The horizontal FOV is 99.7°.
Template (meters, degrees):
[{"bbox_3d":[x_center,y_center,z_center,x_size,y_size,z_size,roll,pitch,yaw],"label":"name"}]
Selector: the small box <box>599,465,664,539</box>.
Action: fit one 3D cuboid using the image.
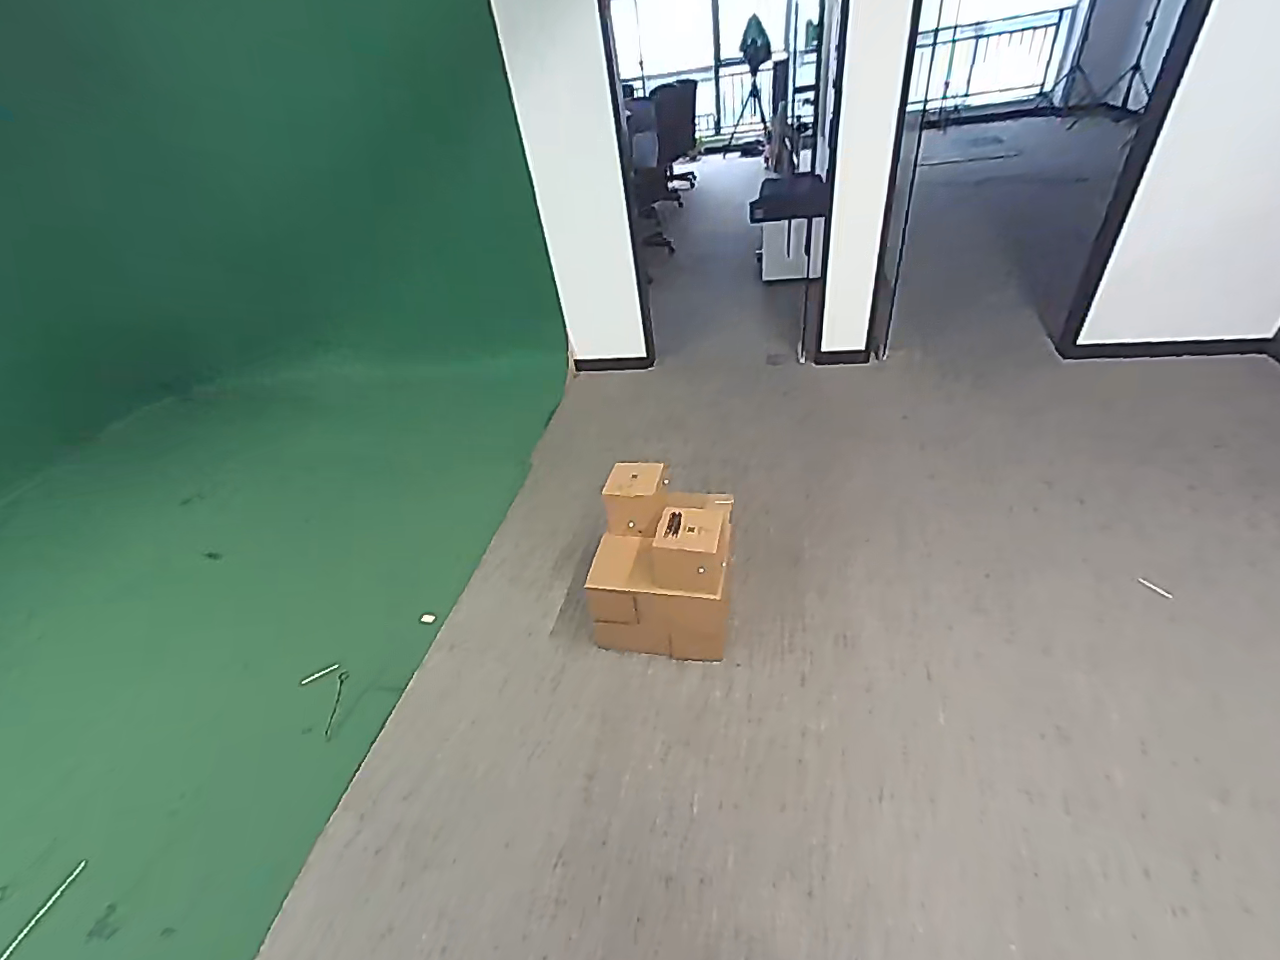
[{"bbox_3d":[-0.021,0.070,1.748,0.168,0.176,0.179,1,36,15],"label":"small box"}]
